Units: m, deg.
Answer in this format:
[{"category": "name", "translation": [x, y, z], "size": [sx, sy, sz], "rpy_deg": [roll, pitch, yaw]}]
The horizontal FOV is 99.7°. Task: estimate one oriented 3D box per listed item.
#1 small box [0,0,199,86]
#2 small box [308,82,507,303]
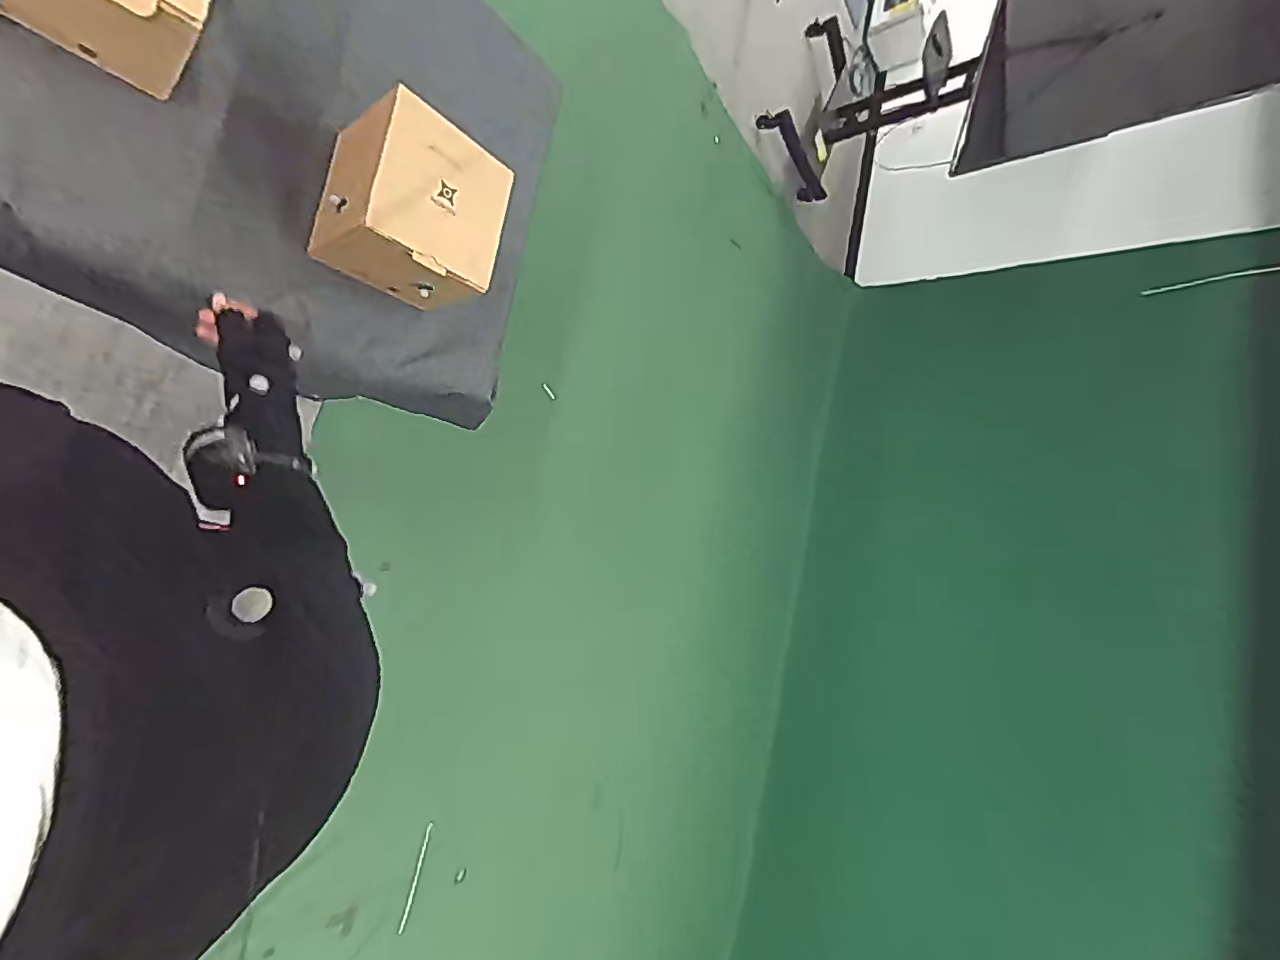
[{"category": "small box", "translation": [-0.486, -0.497, 0.467], "size": [0.168, 0.176, 0.179], "rpy_deg": [14, 82, -50]}, {"category": "small box", "translation": [-0.304, -0.351, 0.706], "size": [0.168, 0.176, 0.179], "rpy_deg": [17, 79, -51]}]
